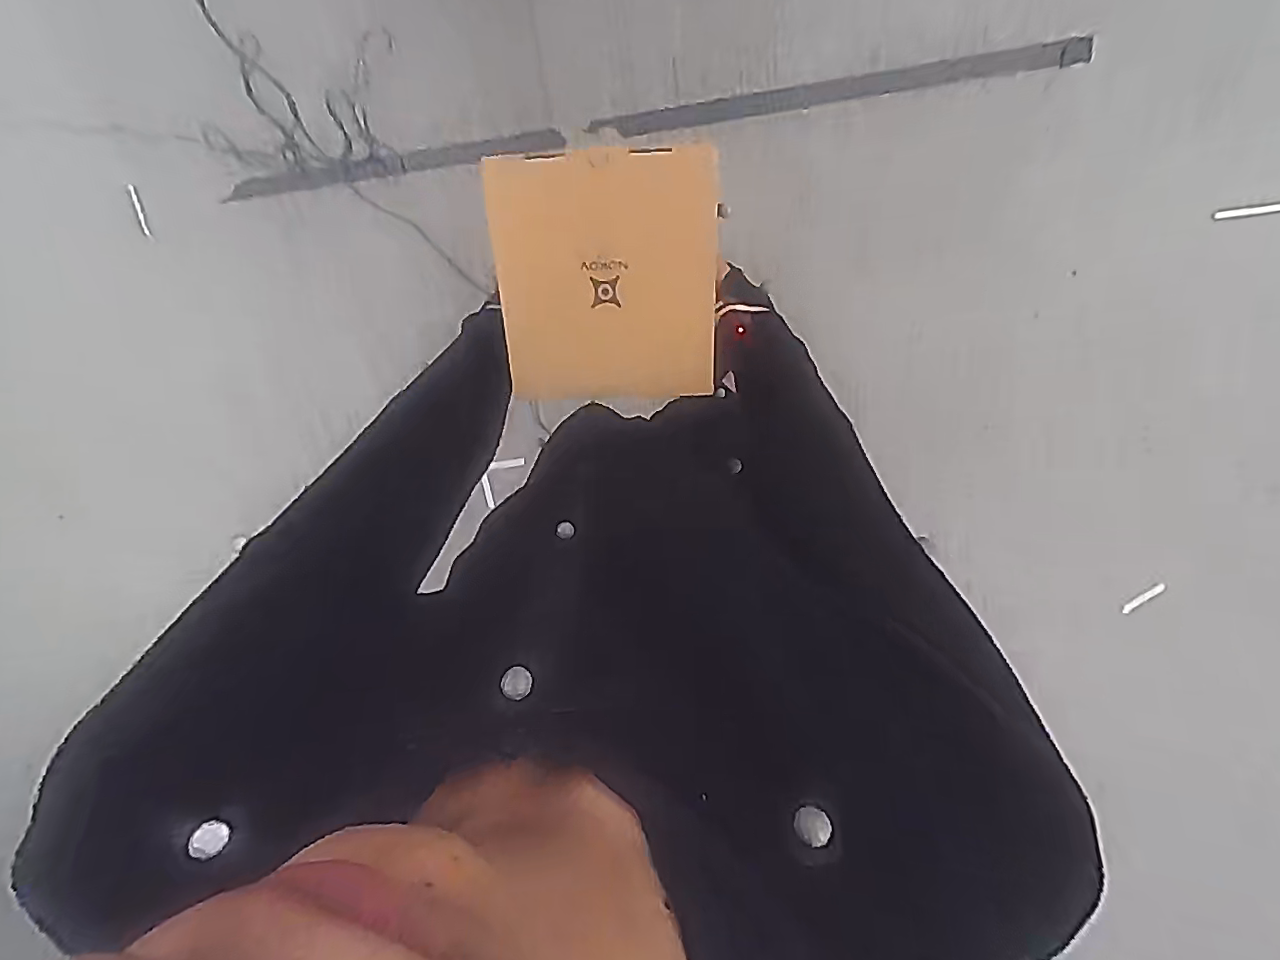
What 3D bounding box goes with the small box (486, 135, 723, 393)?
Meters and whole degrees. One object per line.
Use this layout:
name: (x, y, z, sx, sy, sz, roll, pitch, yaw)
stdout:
small box: (-0.016, -0.184, 0.472, 0.168, 0.176, 0.179, -1, 114, 4)
